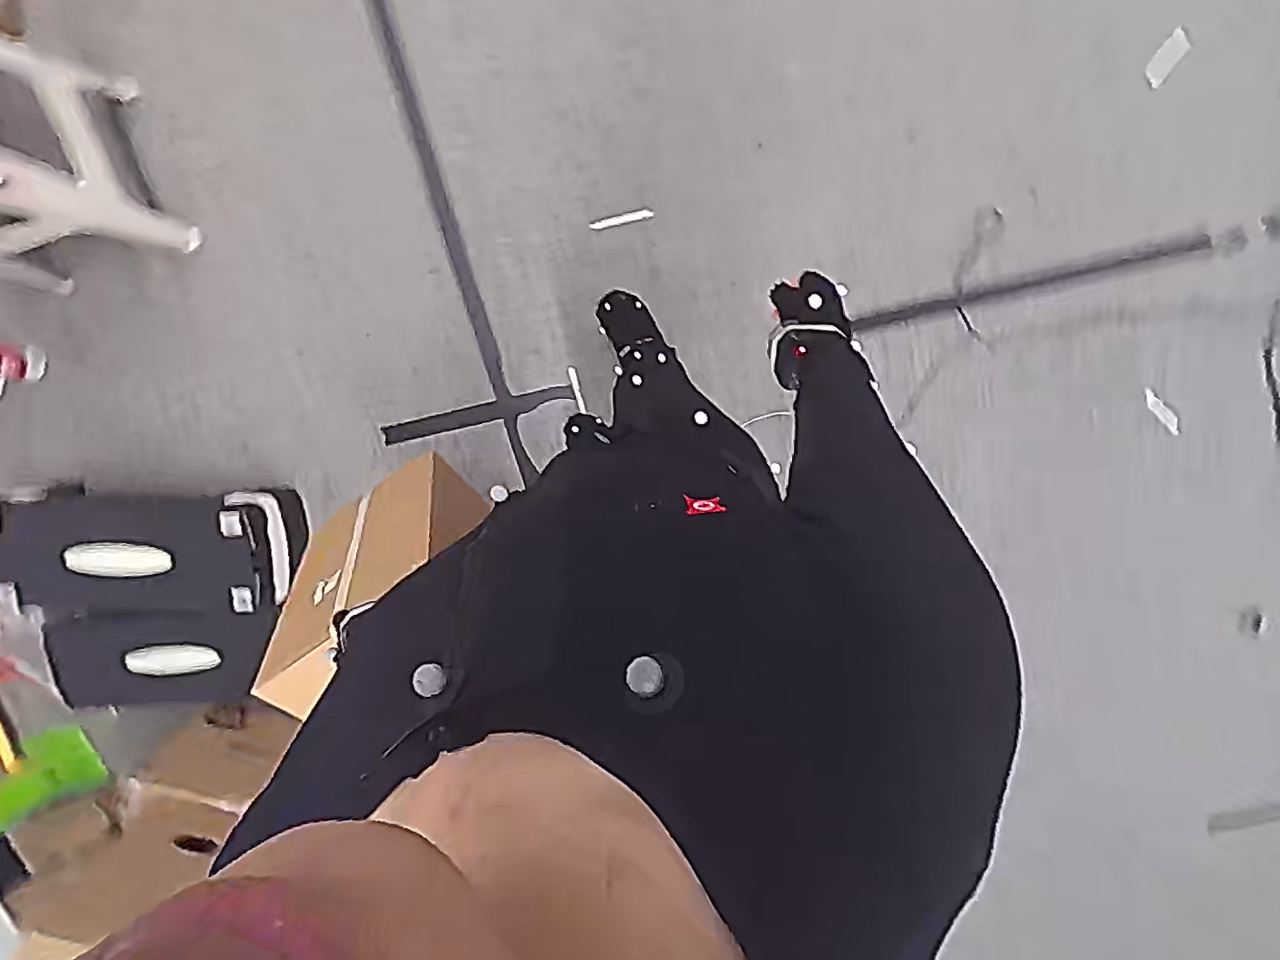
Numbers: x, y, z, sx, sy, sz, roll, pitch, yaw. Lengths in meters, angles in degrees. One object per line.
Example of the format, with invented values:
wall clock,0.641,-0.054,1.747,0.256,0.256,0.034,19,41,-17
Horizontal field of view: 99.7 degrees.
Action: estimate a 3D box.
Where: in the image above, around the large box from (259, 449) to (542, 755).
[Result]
large box,-0.421,0.212,1.026,0.320,0.408,0.320,-34,125,1
